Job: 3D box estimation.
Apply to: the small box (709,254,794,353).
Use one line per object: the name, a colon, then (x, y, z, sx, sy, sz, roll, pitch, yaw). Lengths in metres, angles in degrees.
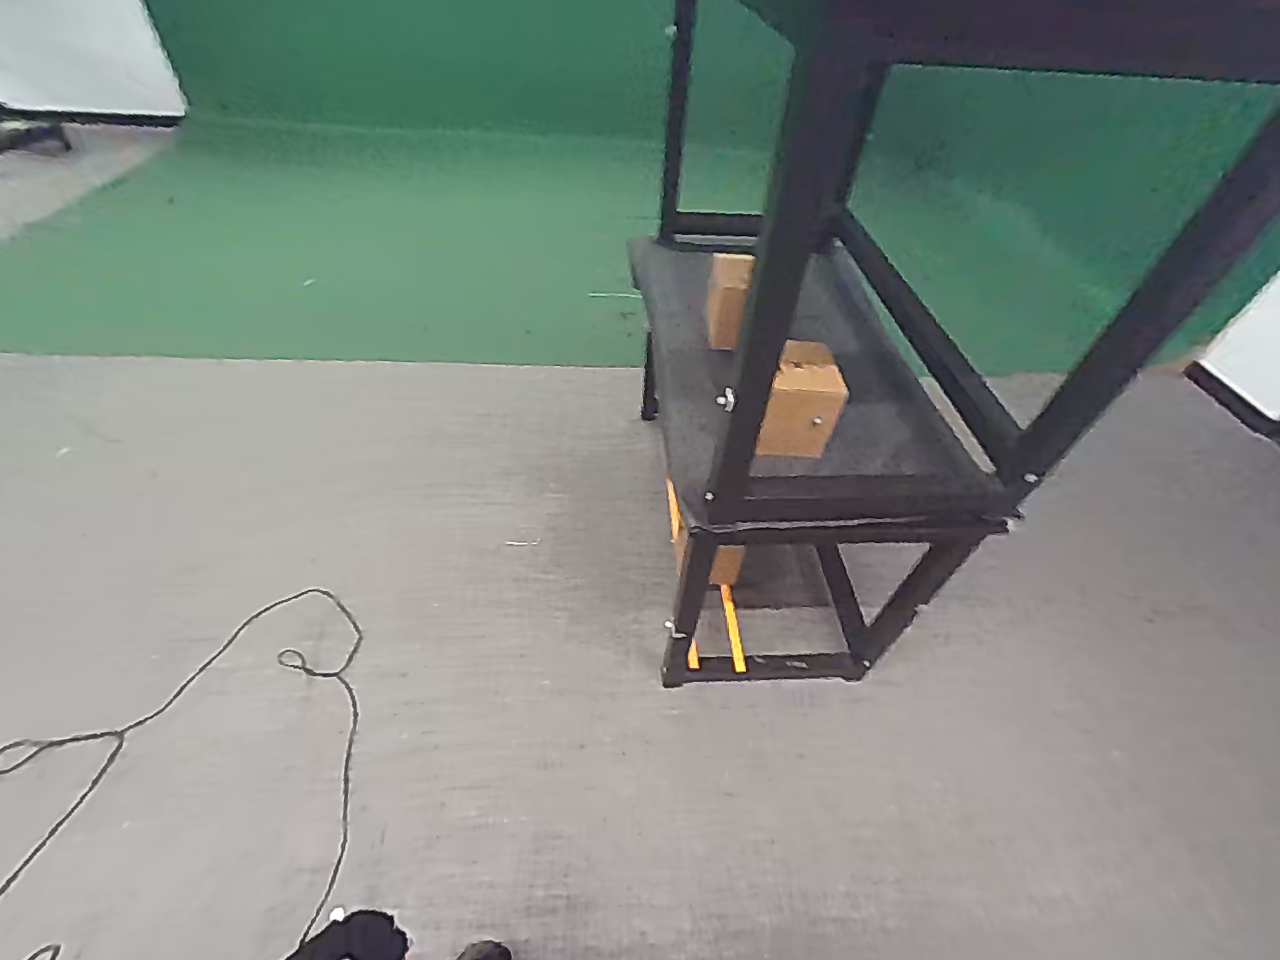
small box: (0.268, -0.440, 1.347, 0.168, 0.176, 0.179, 2, 47, -2)

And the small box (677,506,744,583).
small box: (0.202, 0.194, 1.605, 0.179, 0.176, 0.168, 2, 47, -2)
